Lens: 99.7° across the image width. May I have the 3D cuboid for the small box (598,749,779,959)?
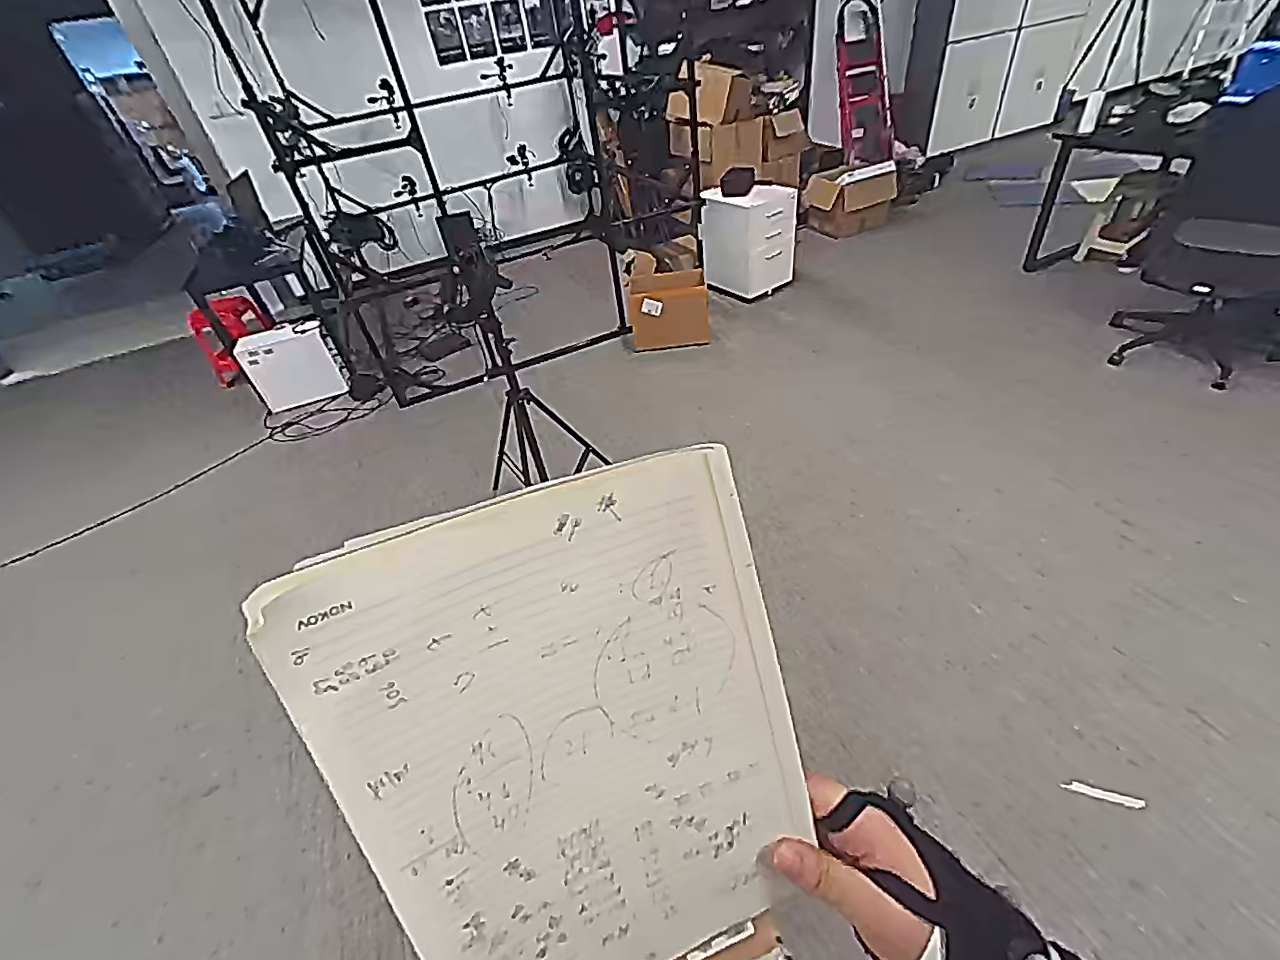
[{"bbox_3d":[0.052,0.481,0.677,0.168,0.176,0.179,-15,43,-11],"label":"small box"}]
